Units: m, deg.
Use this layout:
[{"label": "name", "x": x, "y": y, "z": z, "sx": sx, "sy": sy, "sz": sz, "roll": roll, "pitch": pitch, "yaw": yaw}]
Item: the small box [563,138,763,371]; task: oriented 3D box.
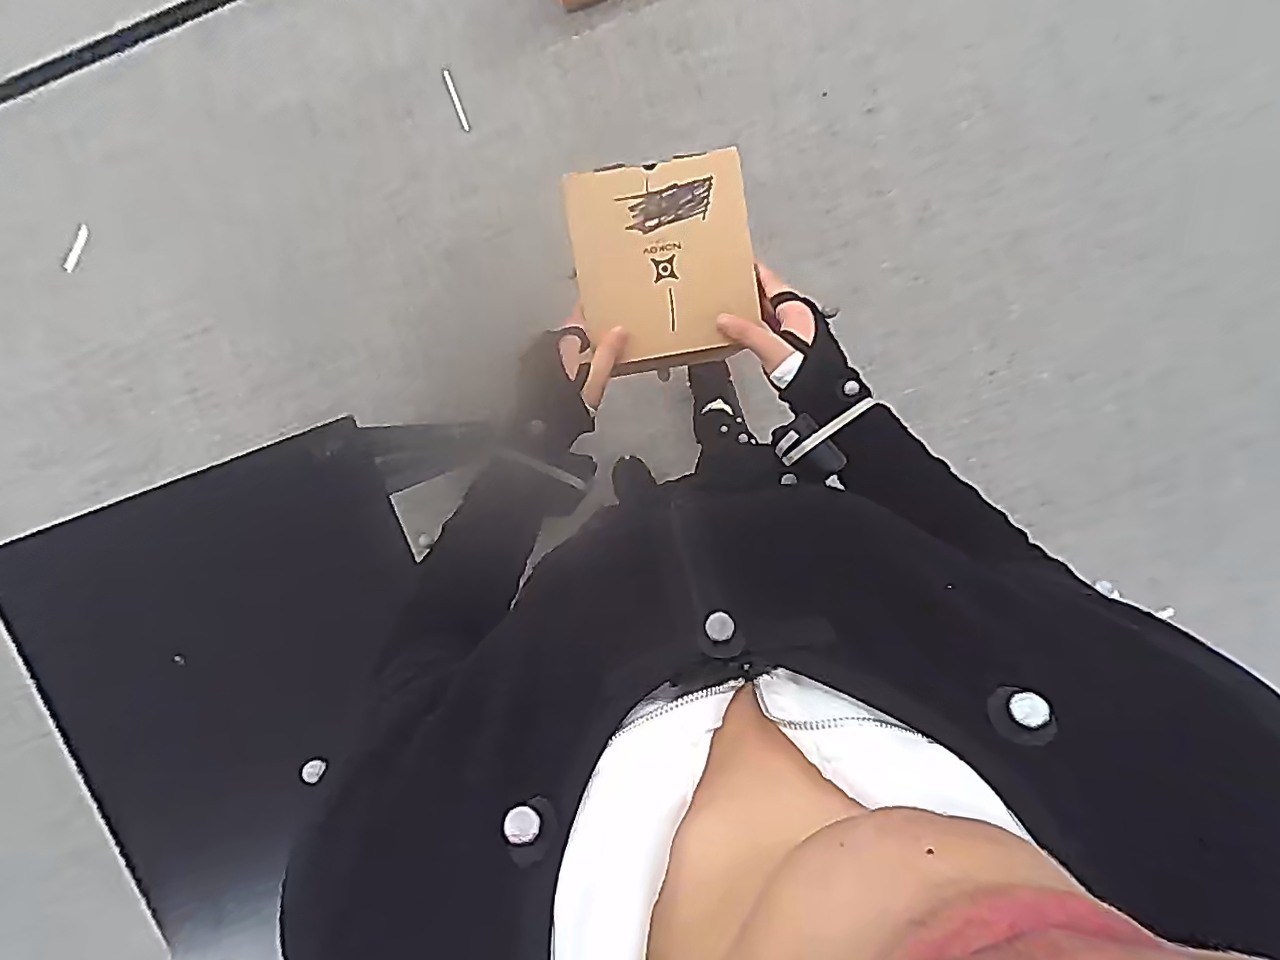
[{"label": "small box", "x": 0.019, "y": -0.221, "z": 0.575, "sx": 0.168, "sy": 0.176, "sz": 0.179, "roll": -10, "pitch": 97, "yaw": -1}]

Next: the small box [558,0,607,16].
[{"label": "small box", "x": -0.138, "y": -1.266, "z": 1.278, "sx": 0.179, "sy": 0.176, "sz": 0.168, "roll": -21, "pitch": 95, "yaw": 3}]
